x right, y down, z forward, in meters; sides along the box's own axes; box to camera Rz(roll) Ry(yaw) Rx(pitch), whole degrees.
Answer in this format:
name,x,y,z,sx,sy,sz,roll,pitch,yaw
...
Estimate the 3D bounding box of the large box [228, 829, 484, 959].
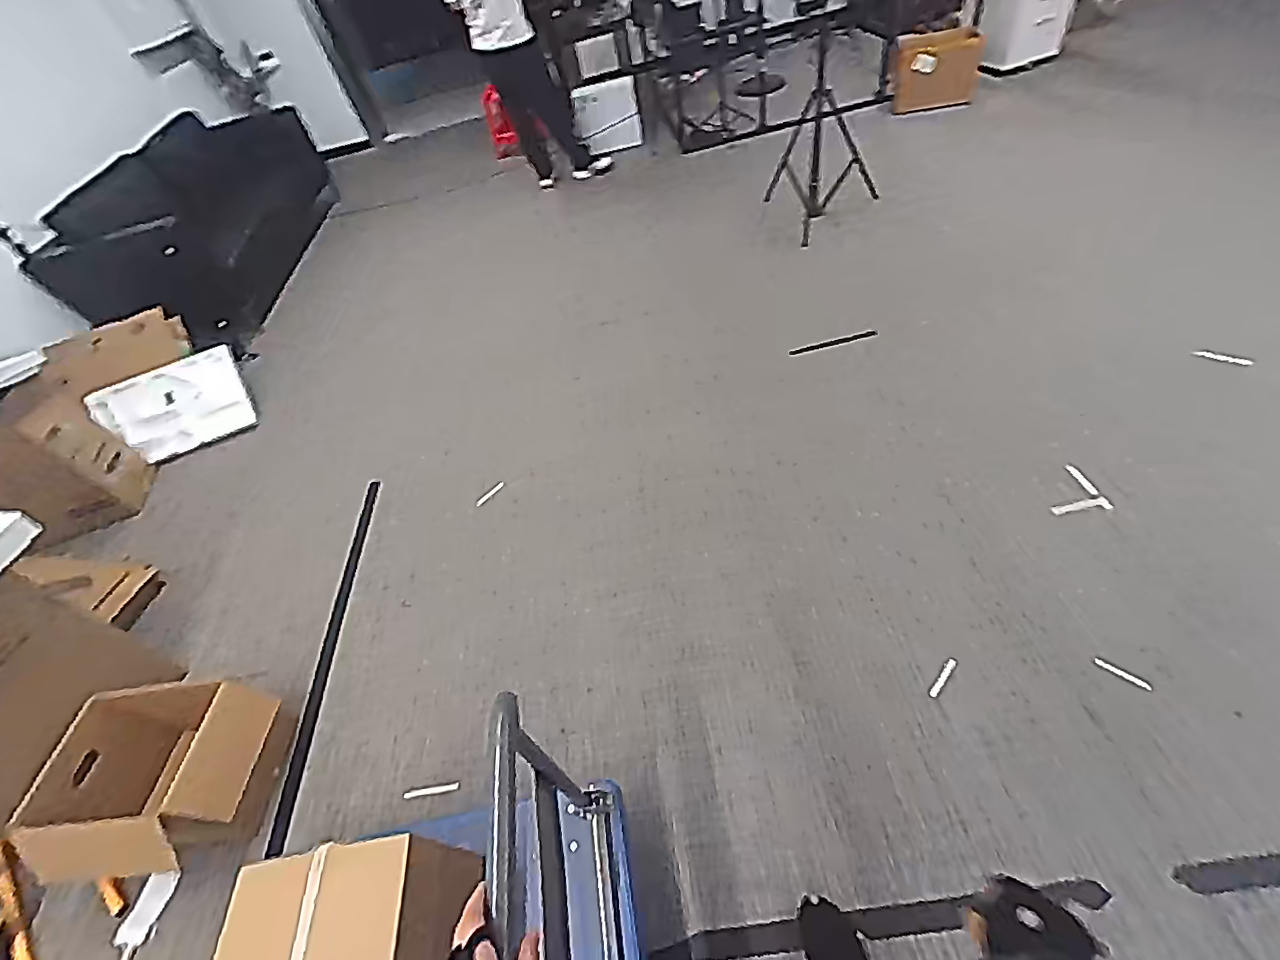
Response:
name,x,y,z,sx,sy,sz,roll,pitch,yaw
large box,-0.475,0.879,0.927,0.320,0.320,0.408,-14,49,3
